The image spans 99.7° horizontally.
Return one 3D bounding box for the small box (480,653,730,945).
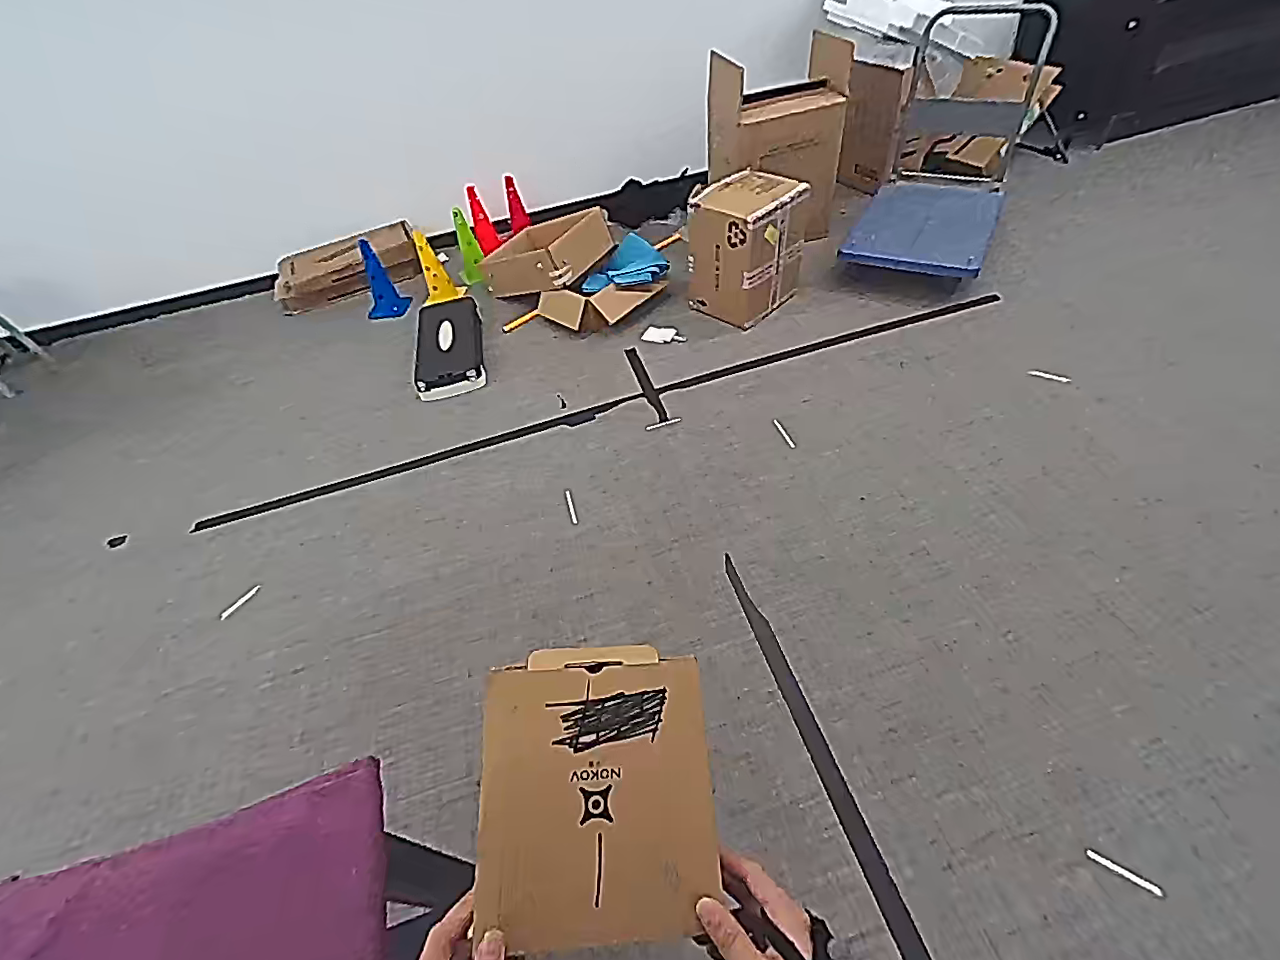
[{"bbox_3d":[-0.031,0.255,0.458,0.168,0.176,0.179,-1,62,-5],"label":"small box"}]
